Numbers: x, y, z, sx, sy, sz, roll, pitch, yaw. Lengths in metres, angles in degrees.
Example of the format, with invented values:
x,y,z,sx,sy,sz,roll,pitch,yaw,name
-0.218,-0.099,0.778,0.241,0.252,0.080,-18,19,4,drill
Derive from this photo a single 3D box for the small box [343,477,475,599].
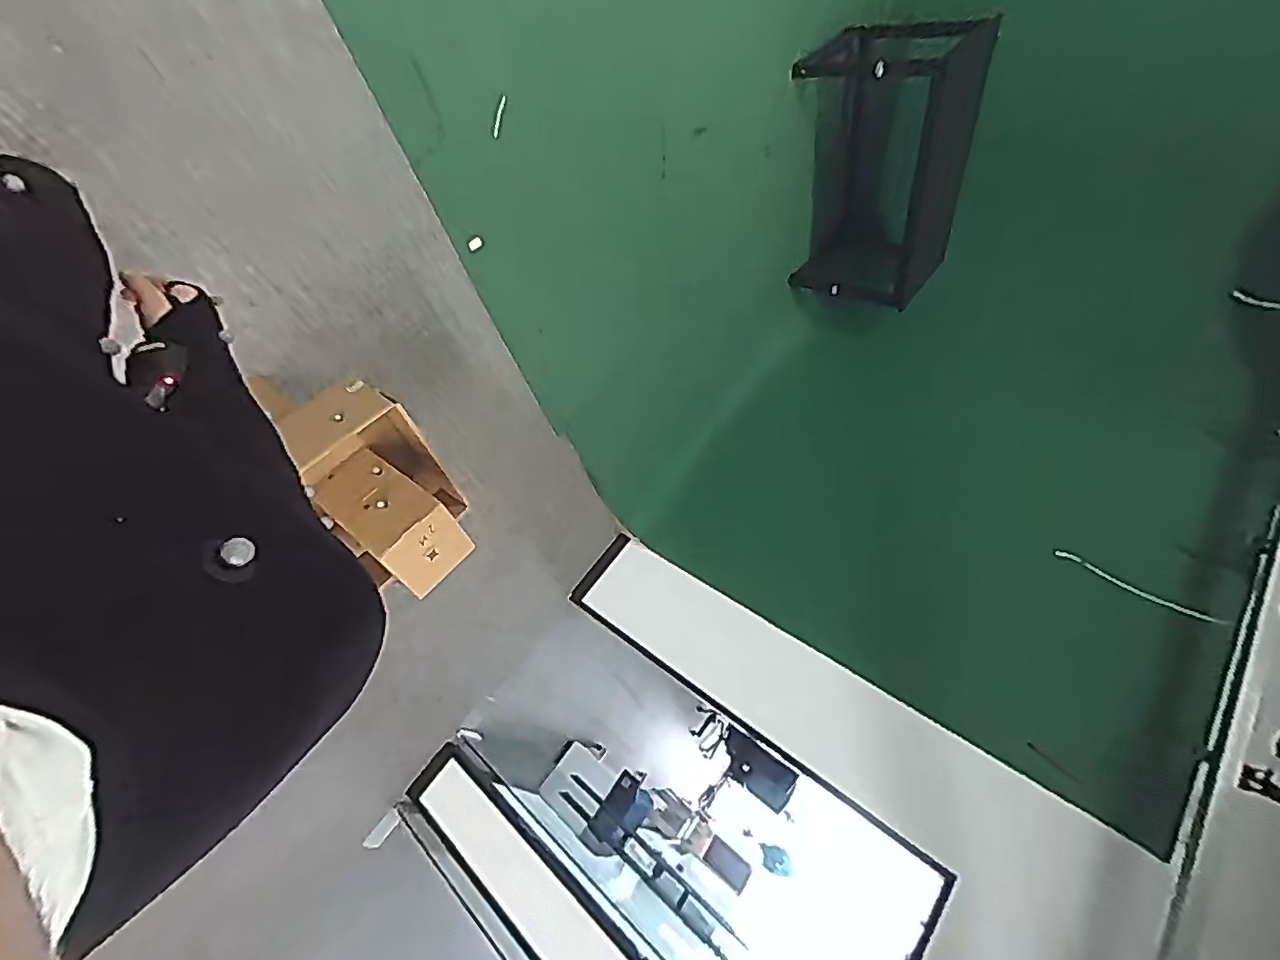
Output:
x,y,z,sx,sy,sz,roll,pitch,yaw,name
-0.505,0.123,1.190,0.168,0.176,0.179,-46,145,-24,small box
